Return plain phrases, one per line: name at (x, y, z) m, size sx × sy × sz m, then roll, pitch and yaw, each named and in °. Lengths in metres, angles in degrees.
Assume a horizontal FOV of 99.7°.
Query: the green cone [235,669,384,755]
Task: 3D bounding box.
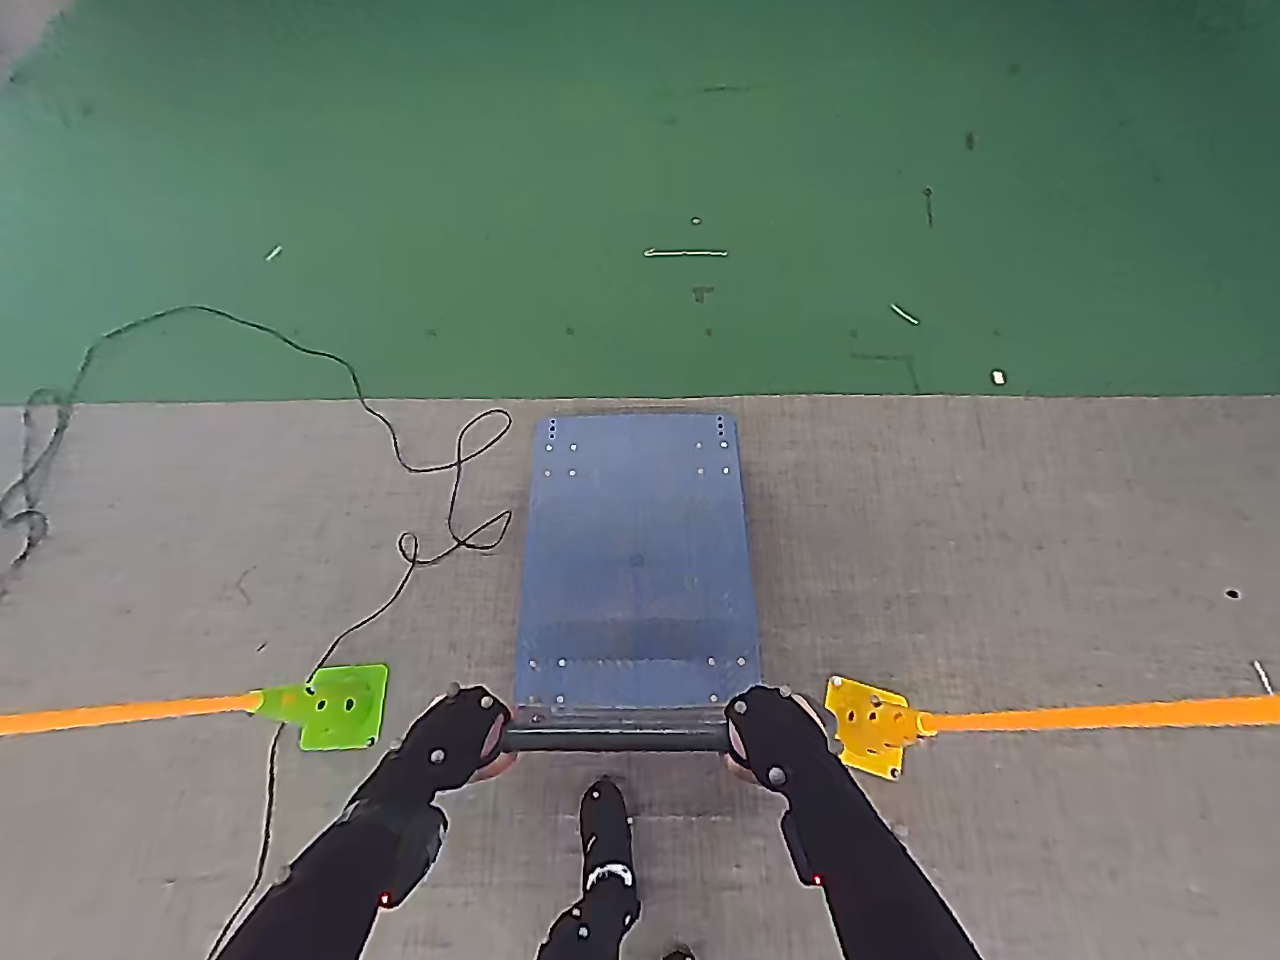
green cone at (-0.781, 0.526, 1.248) m, size 0.202 × 0.368 × 0.200 m, roll -5°, pitch 64°, yaw 2°
